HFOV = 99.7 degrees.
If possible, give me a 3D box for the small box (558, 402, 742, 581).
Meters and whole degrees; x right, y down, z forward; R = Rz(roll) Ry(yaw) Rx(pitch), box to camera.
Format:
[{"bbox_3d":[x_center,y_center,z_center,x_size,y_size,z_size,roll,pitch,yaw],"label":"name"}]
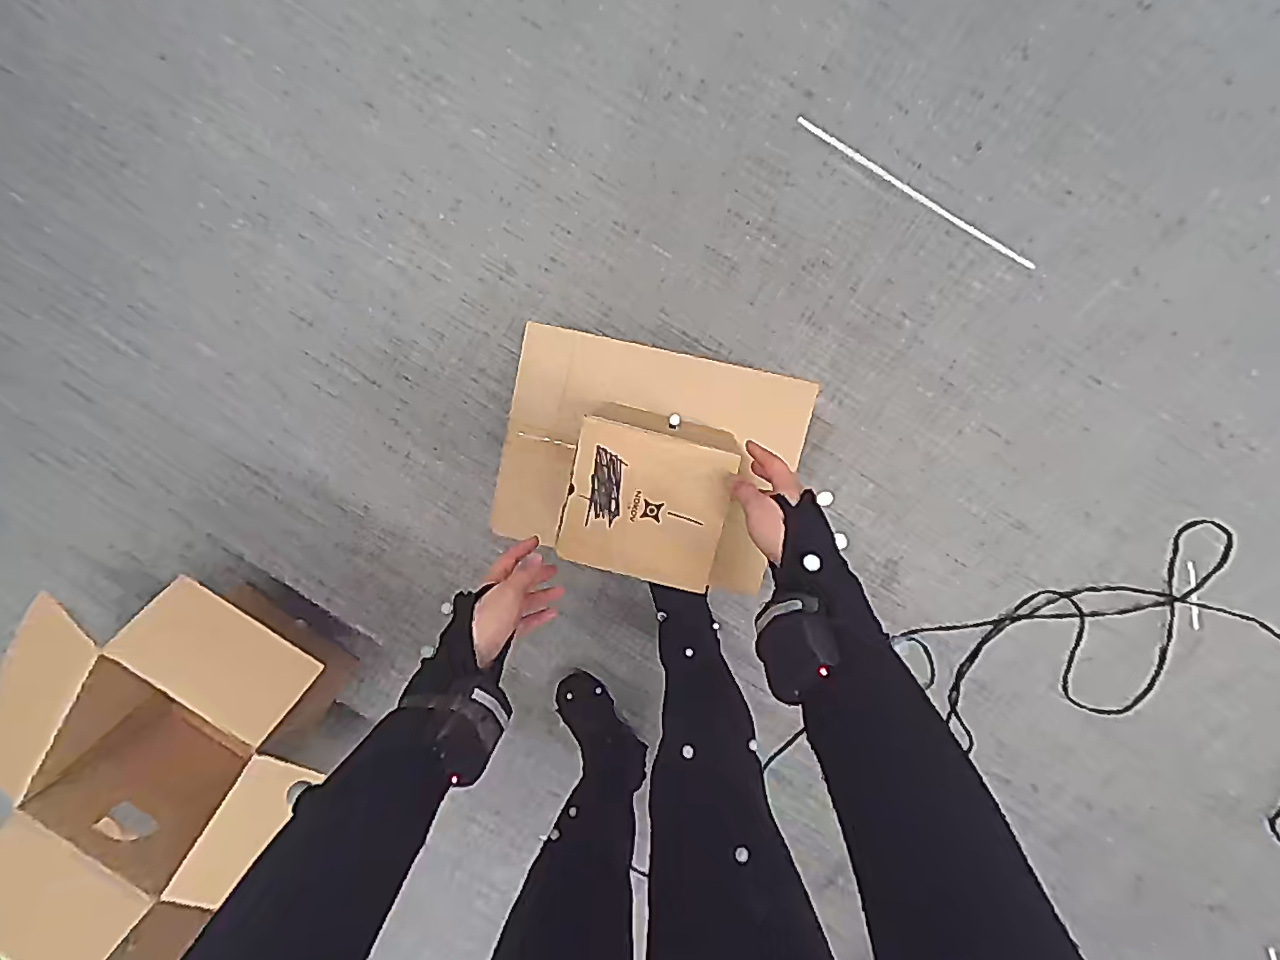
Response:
[{"bbox_3d":[0.015,0.002,0.676,0.179,0.176,0.168,14,104,2],"label":"small box"}]
